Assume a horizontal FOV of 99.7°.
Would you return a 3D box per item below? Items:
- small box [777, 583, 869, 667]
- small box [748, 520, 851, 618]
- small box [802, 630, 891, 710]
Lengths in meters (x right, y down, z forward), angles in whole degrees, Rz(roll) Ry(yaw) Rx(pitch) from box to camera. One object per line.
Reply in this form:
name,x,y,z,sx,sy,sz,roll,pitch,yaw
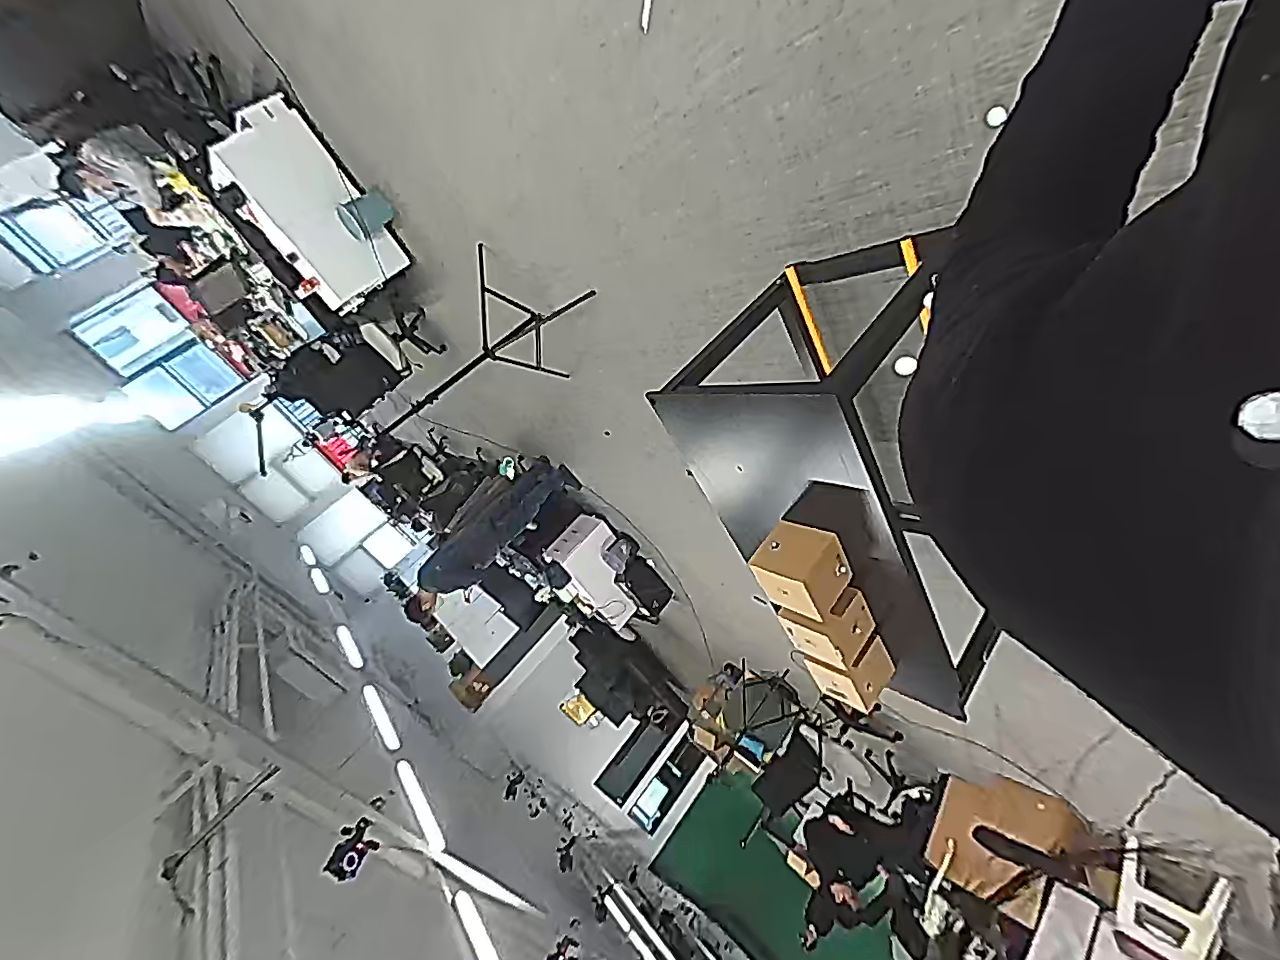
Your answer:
small box,0.529,0.392,1.539,0.179,0.176,0.168,12,142,52
small box,0.423,0.226,1.428,0.179,0.176,0.168,12,144,51
small box,0.632,0.550,1.642,0.168,0.176,0.179,10,139,54
